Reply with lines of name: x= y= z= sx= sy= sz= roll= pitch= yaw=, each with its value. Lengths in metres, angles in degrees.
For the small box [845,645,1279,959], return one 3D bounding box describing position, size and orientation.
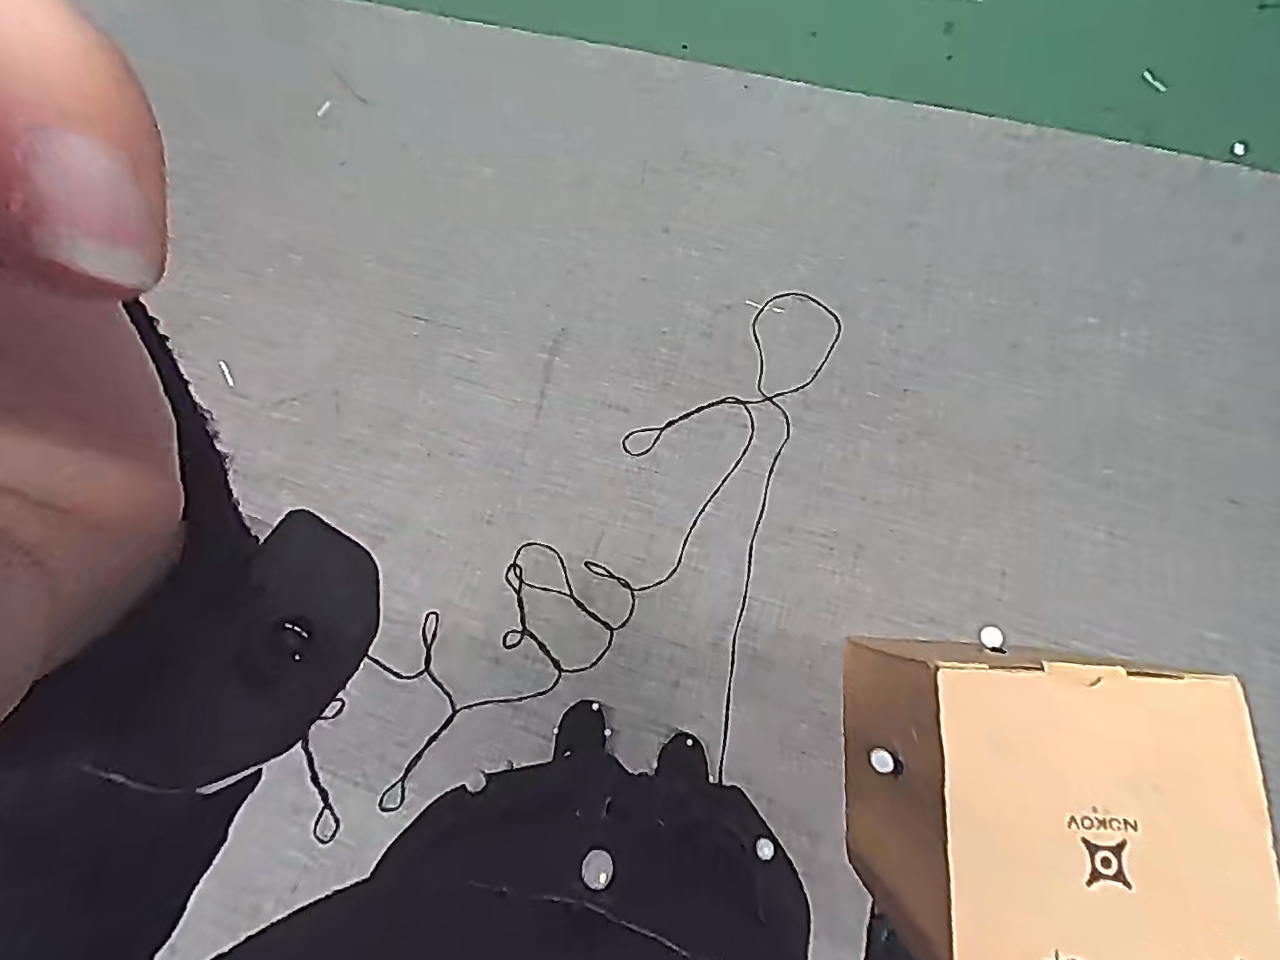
small box: x=0.249 y=0.210 z=0.370 sx=0.168 sy=0.176 sz=0.179 roll=1 pitch=78 yaw=3
